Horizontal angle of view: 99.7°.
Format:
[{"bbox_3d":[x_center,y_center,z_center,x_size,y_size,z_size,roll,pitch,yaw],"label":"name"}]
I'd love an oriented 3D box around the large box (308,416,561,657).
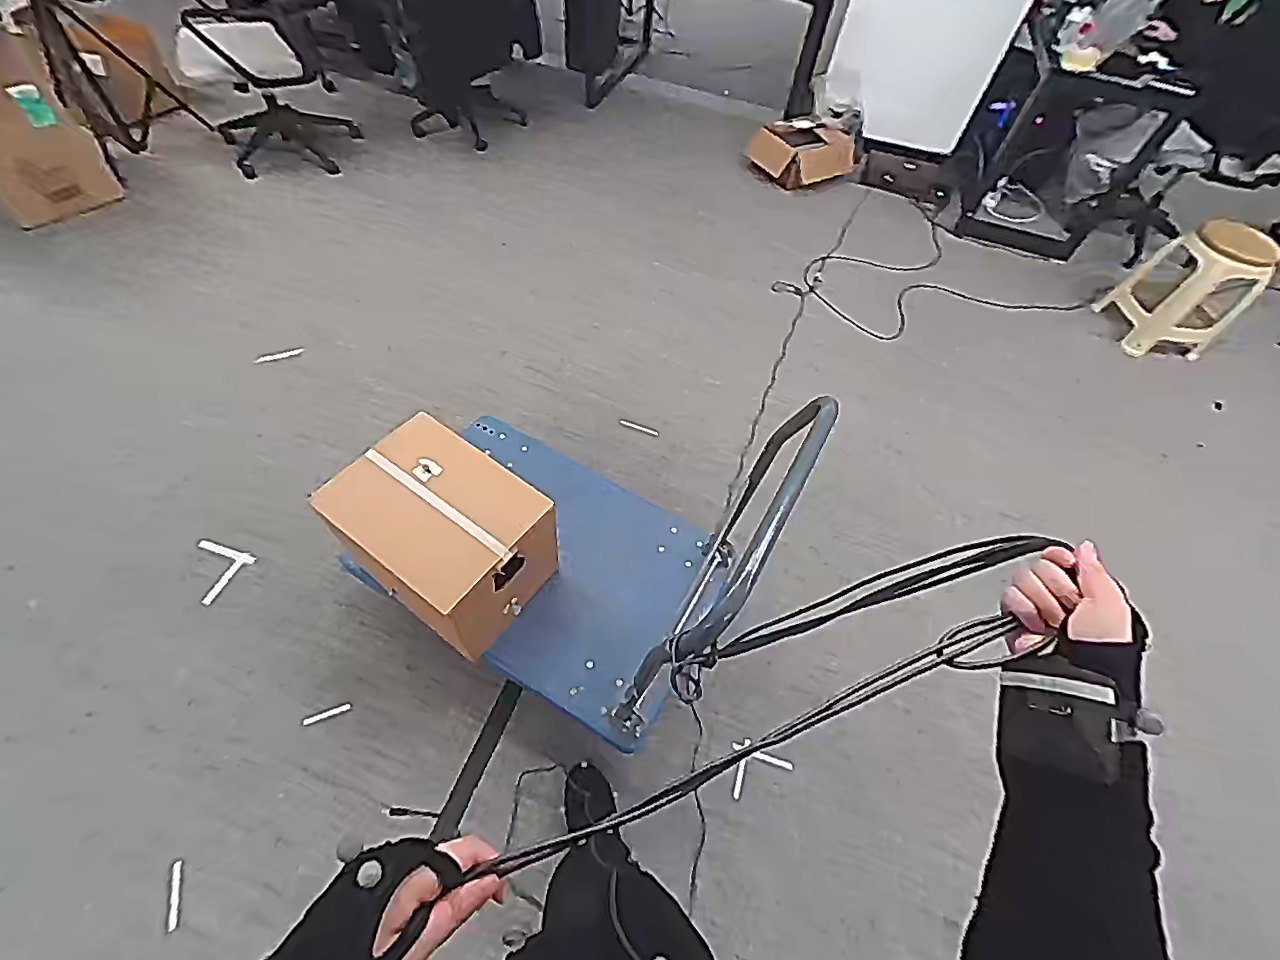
[{"bbox_3d":[-0.435,0.133,1.236,0.408,0.320,0.320,32,58,16],"label":"large box"}]
